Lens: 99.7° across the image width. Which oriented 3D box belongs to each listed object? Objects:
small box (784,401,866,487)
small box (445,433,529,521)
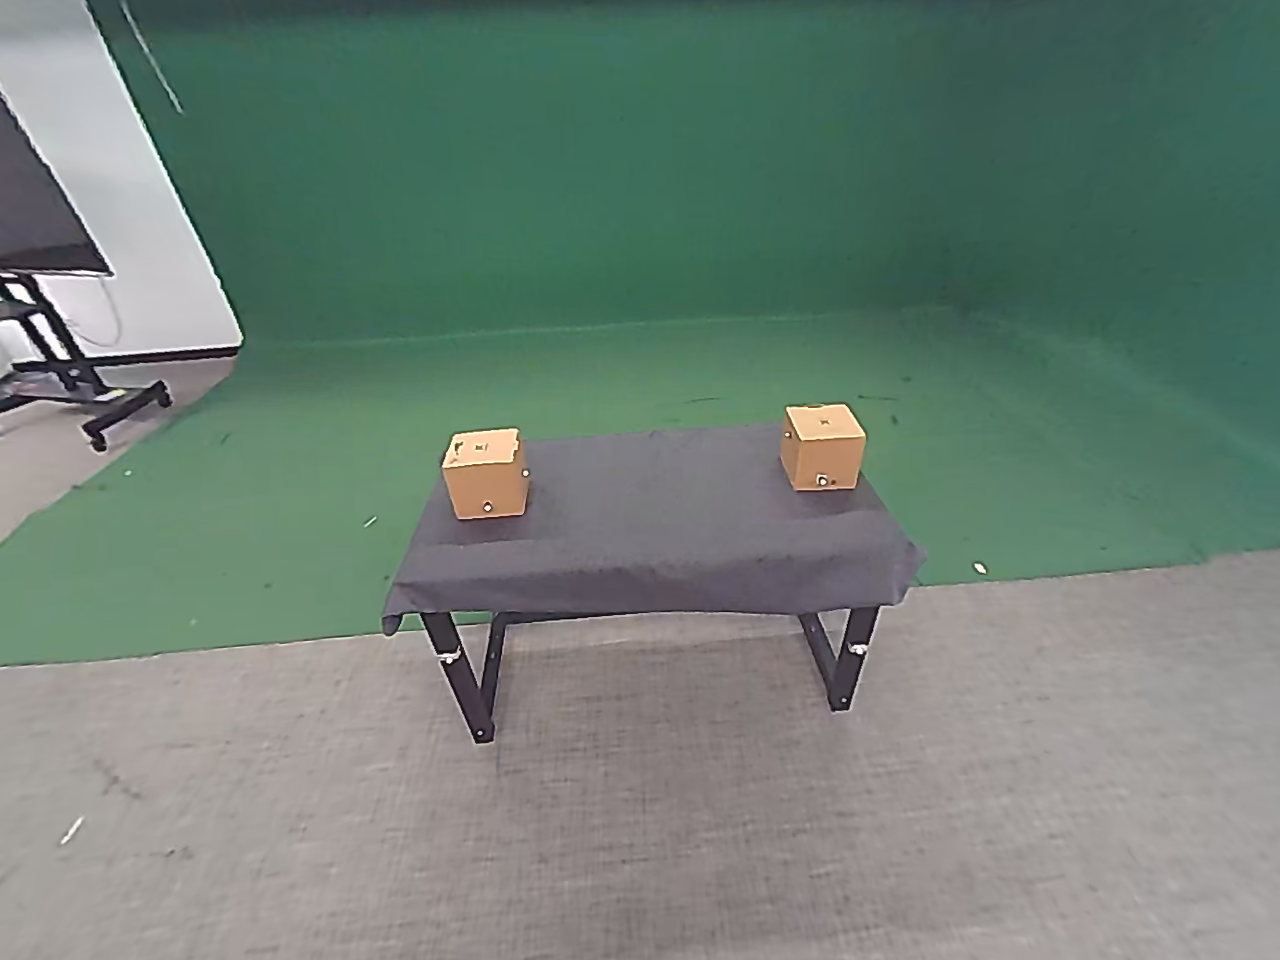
[{"bbox_3d":[0.489,-0.098,1.457,0.168,0.176,0.179,-3,36,5],"label":"small box"},{"bbox_3d":[-0.395,-0.007,1.435,0.179,0.176,0.168,-4,35,-3],"label":"small box"}]
